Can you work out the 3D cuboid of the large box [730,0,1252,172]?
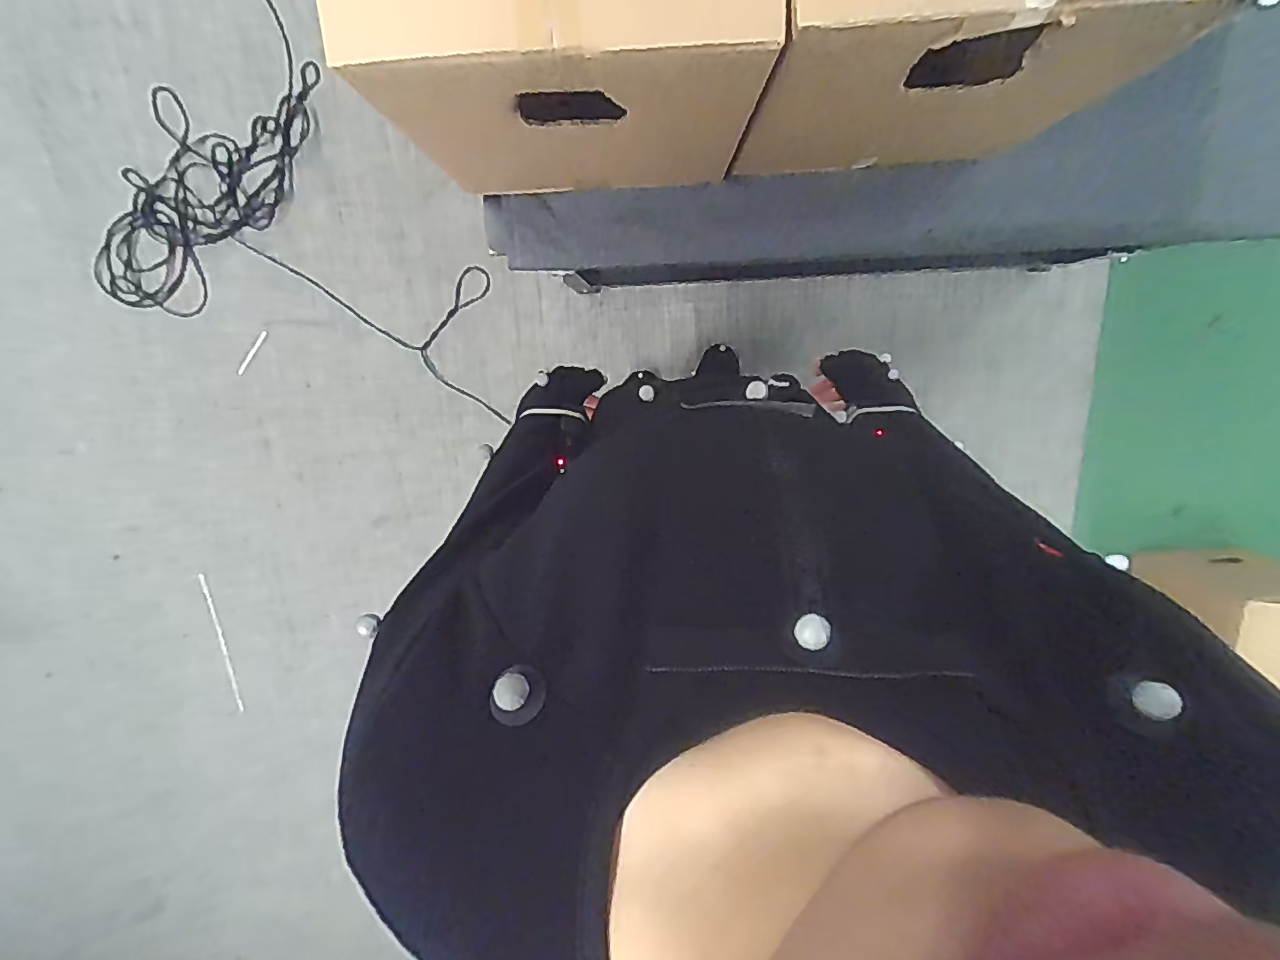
[{"bbox_3d":[0.247,-0.536,0.458,0.320,0.320,0.408,-3,104,3],"label":"large box"}]
